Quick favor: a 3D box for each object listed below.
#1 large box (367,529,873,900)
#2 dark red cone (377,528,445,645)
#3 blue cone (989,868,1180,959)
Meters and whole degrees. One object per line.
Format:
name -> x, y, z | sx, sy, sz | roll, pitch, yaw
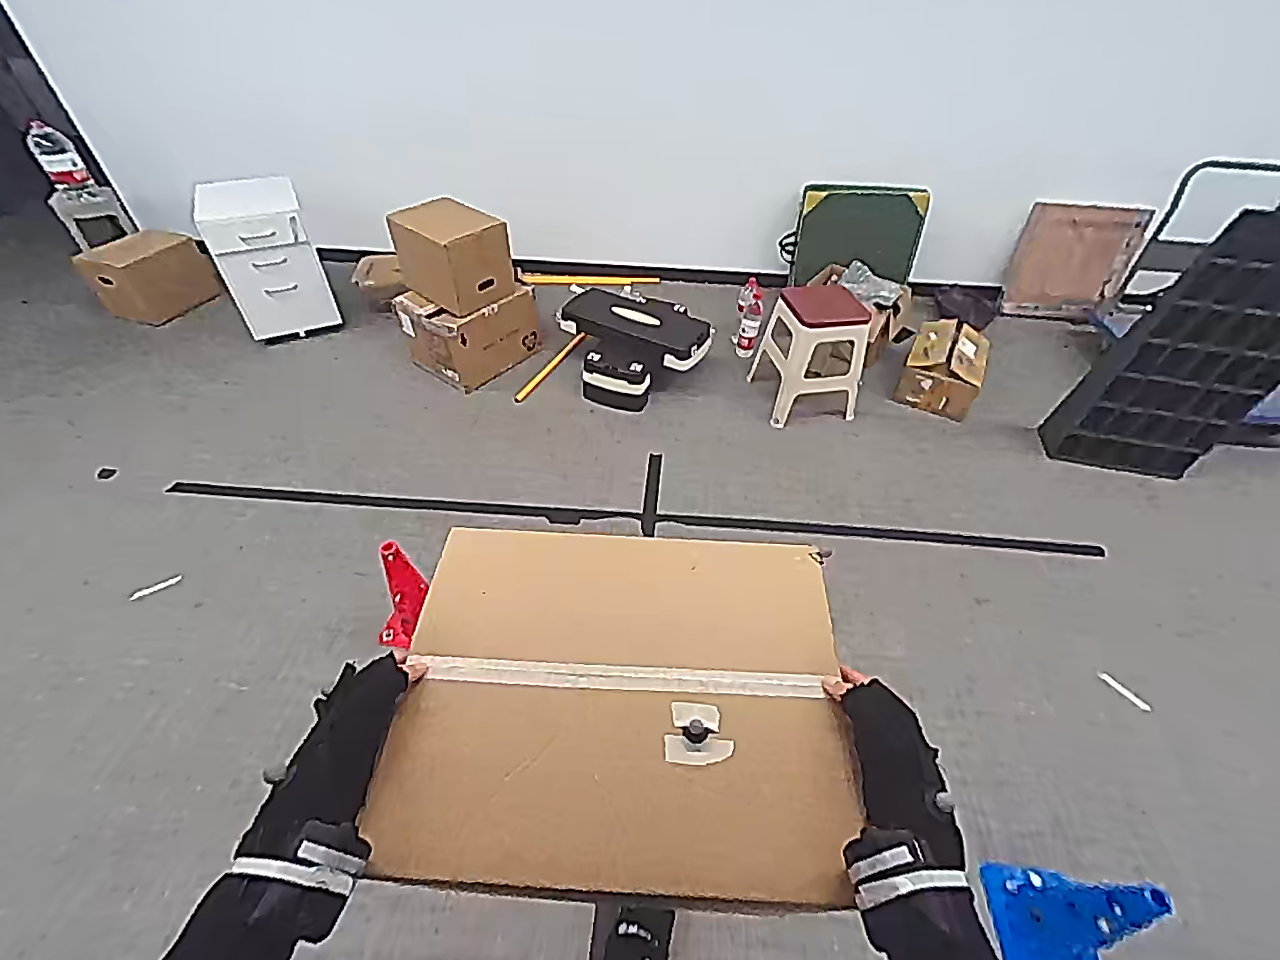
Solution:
large box -> -0.015, 0.276, 0.624 | 0.408, 0.320, 0.320 | 3, 51, 1
dark red cone -> -0.636, 0.273, 1.487 | 0.201, 0.394, 0.202 | 10, 46, 6
blue cone -> 0.872, 0.839, 1.044 | 0.192, 0.380, 0.193 | 8, 46, 4
